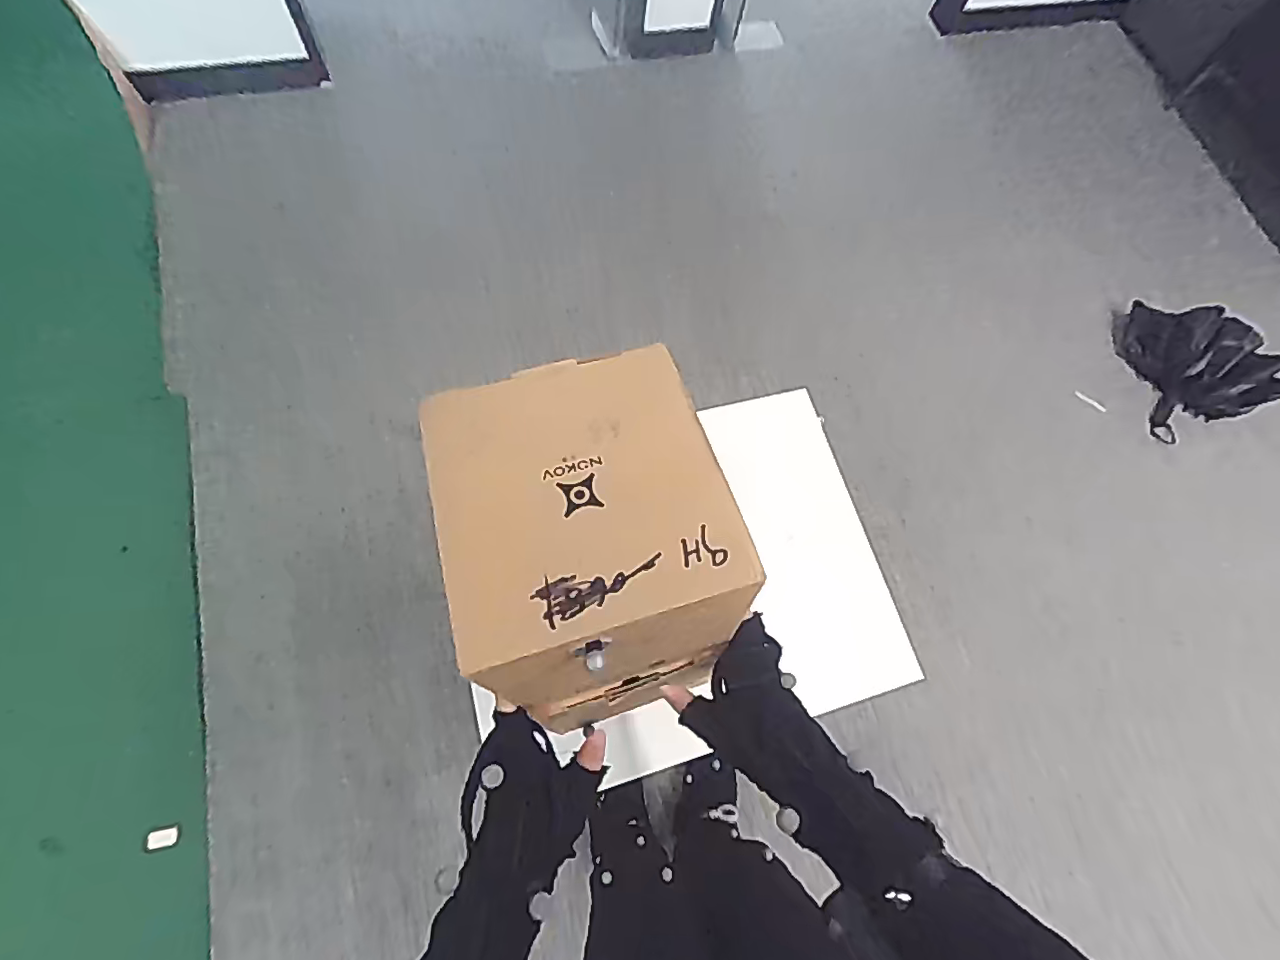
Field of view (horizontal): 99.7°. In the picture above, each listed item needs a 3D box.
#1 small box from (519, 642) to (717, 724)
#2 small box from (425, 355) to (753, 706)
[{"bbox_3d":[-0.035,0.127,0.534,0.168,0.176,0.179,-17,62,-8],"label":"small box"},{"bbox_3d":[-0.038,0.044,0.394,0.168,0.176,0.179,-16,62,-7],"label":"small box"}]
